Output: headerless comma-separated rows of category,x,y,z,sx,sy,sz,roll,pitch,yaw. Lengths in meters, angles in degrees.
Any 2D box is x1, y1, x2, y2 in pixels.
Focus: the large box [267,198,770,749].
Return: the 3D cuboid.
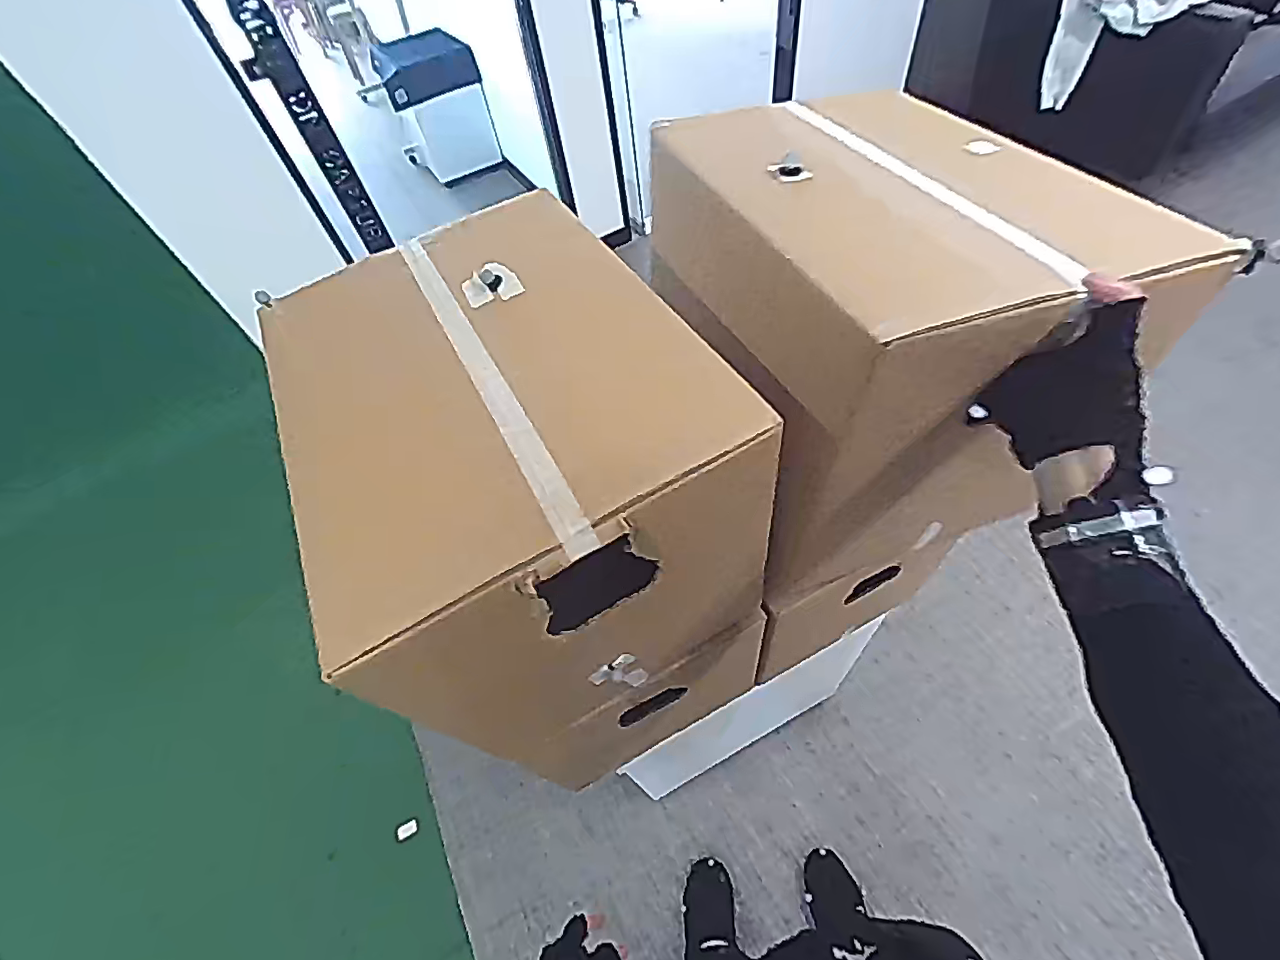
large box,-0.113,-0.014,0.559,0.320,0.320,0.408,-28,54,-11
